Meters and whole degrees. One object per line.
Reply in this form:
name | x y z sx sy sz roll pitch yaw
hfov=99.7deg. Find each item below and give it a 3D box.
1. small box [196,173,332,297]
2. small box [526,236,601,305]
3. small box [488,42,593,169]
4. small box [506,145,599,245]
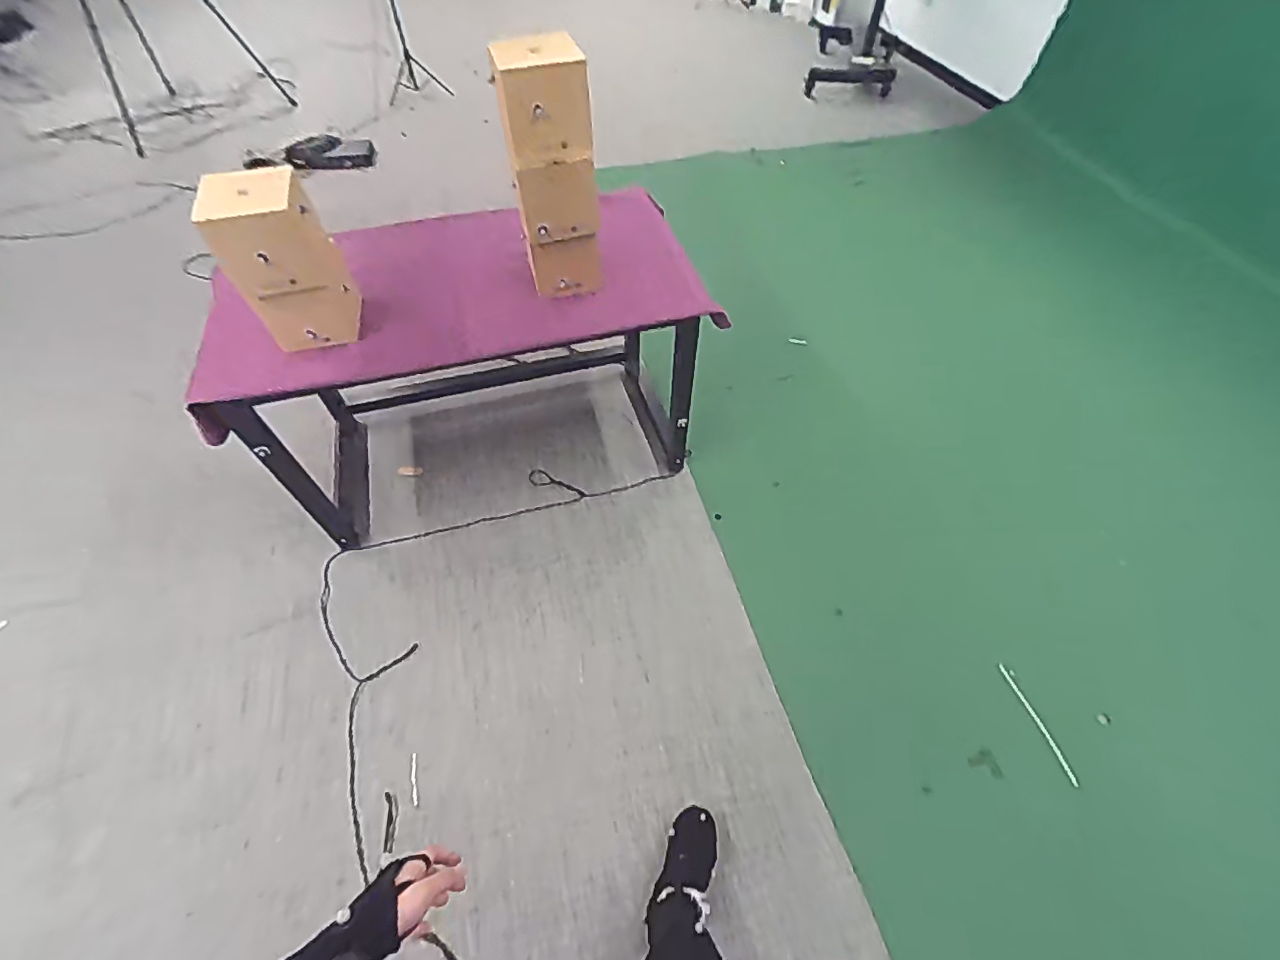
small box | -0.754 -0.494 1.107 0.168 0.176 0.179 -13 56 -10
small box | -0.198 -0.572 1.373 0.168 0.176 0.179 -12 55 -7
small box | -0.199 -0.758 1.105 0.168 0.176 0.179 -15 54 -9
small box | -0.195 -0.653 1.229 0.168 0.176 0.179 -14 53 -8
